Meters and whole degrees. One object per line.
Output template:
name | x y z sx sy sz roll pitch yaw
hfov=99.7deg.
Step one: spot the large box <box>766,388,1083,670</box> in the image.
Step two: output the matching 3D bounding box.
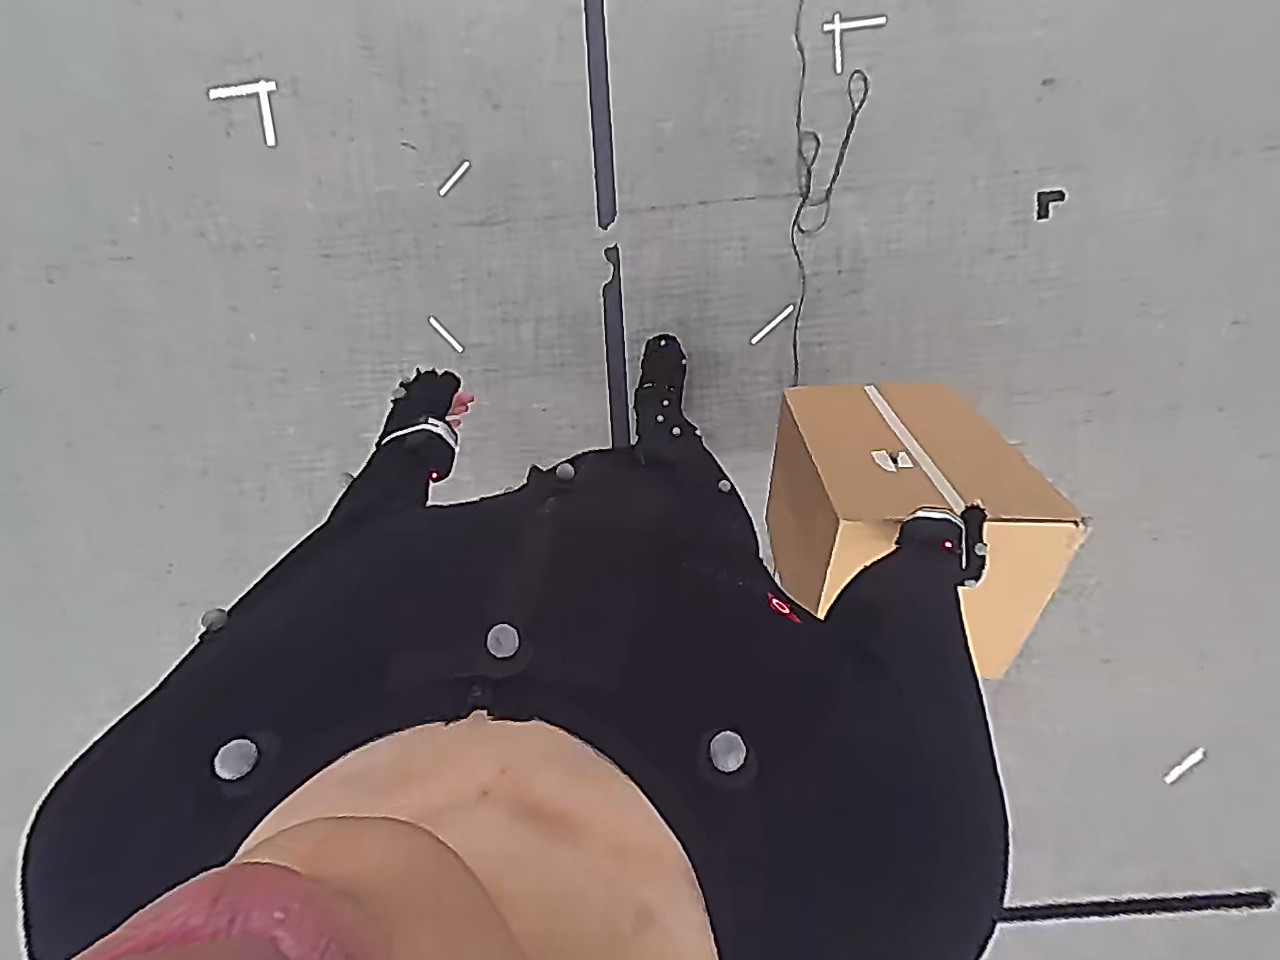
large box | 0.423 0.067 0.944 0.320 0.408 0.320 0 124 2
